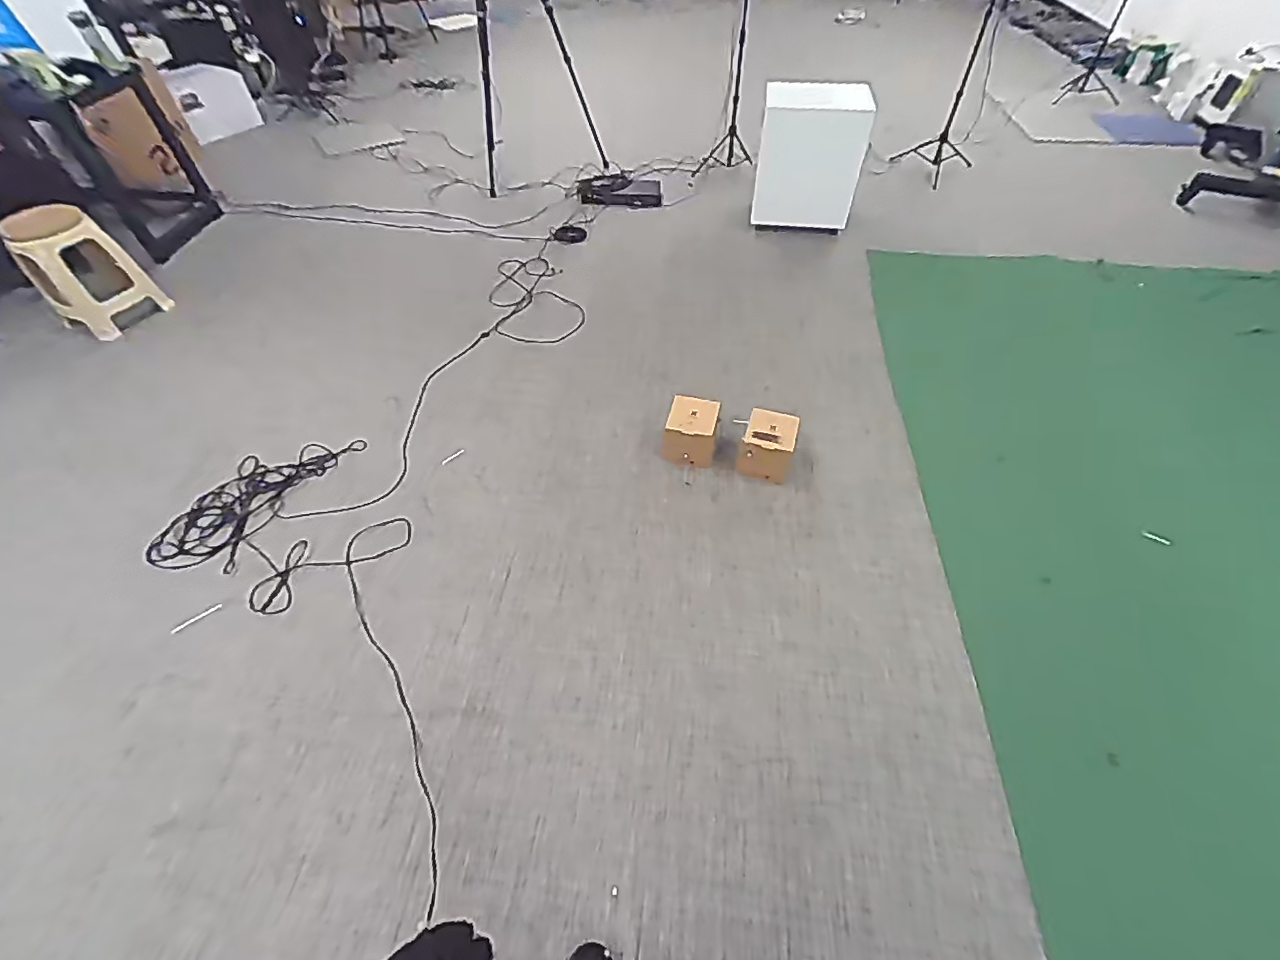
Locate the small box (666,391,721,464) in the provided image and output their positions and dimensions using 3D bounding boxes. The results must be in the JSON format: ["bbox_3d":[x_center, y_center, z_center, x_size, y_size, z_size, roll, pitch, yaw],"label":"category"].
[{"bbox_3d":[0.188,-0.187,1.935,0.168,0.176,0.179,11,53,11],"label":"small box"}]
